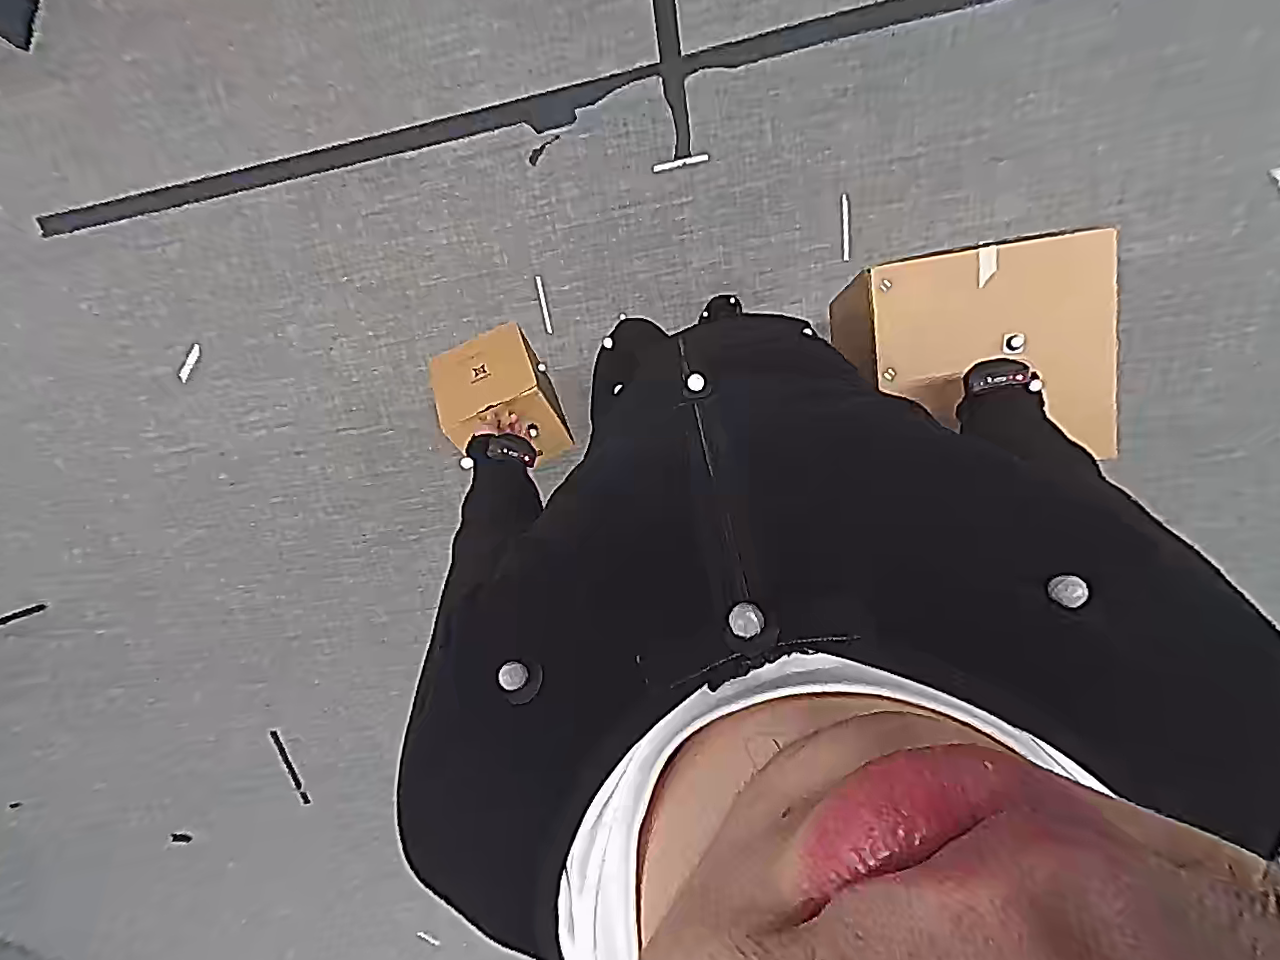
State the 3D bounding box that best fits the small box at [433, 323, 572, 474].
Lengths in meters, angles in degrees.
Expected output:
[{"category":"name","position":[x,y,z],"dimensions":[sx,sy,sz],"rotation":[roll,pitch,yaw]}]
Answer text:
[{"category":"small box","position":[-0.235,-0.132,0.948],"dimensions":[0.168,0.179,0.176],"rotation":[-24,145,1]}]
